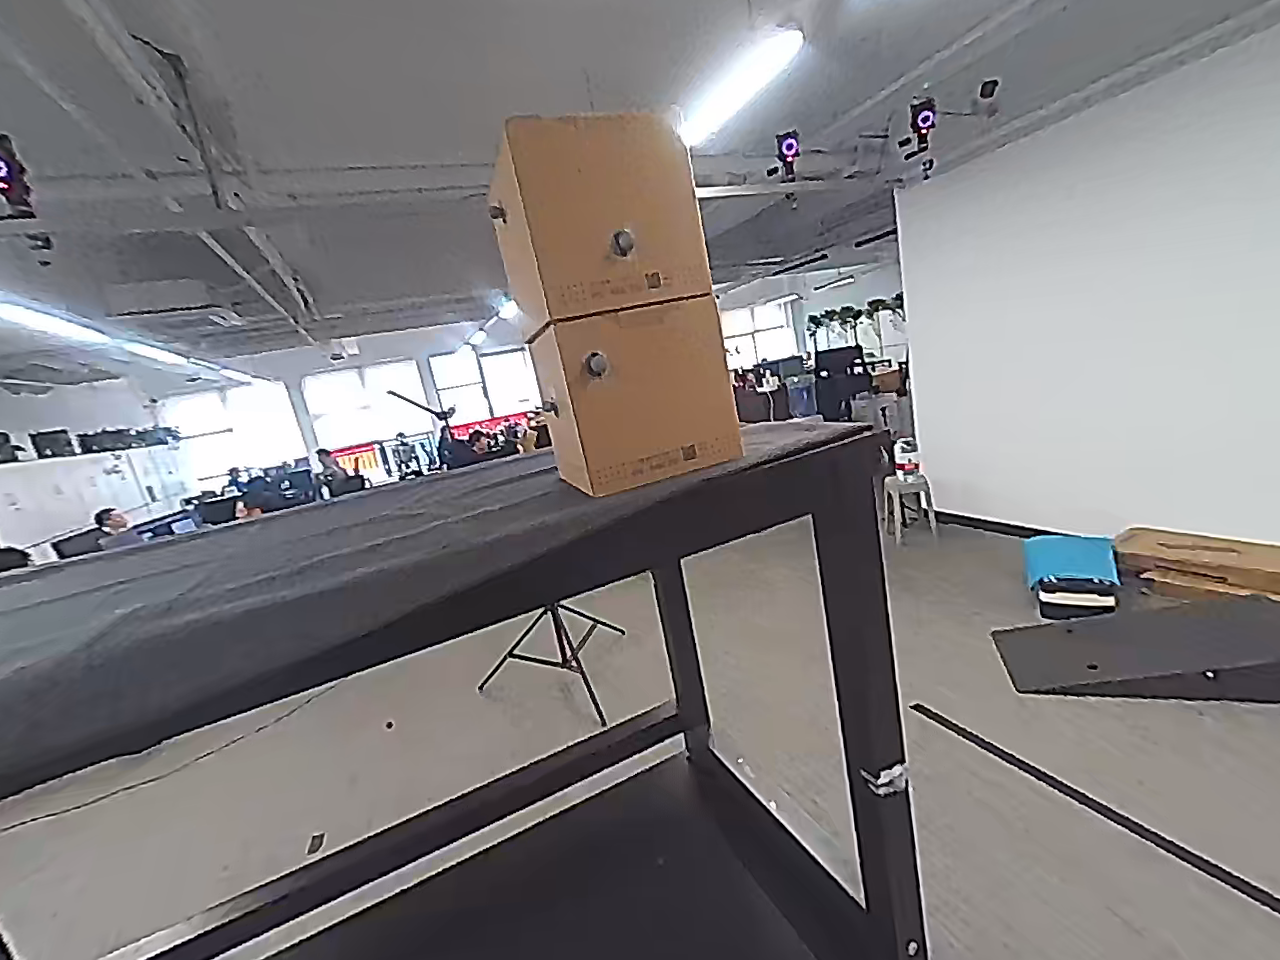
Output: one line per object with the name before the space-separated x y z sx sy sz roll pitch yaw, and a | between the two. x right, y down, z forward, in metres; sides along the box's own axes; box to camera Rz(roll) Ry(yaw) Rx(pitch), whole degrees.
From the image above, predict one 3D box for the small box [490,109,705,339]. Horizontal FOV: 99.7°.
small box | -0.051 -0.251 0.567 0.168 0.176 0.179 -16 12 -17
